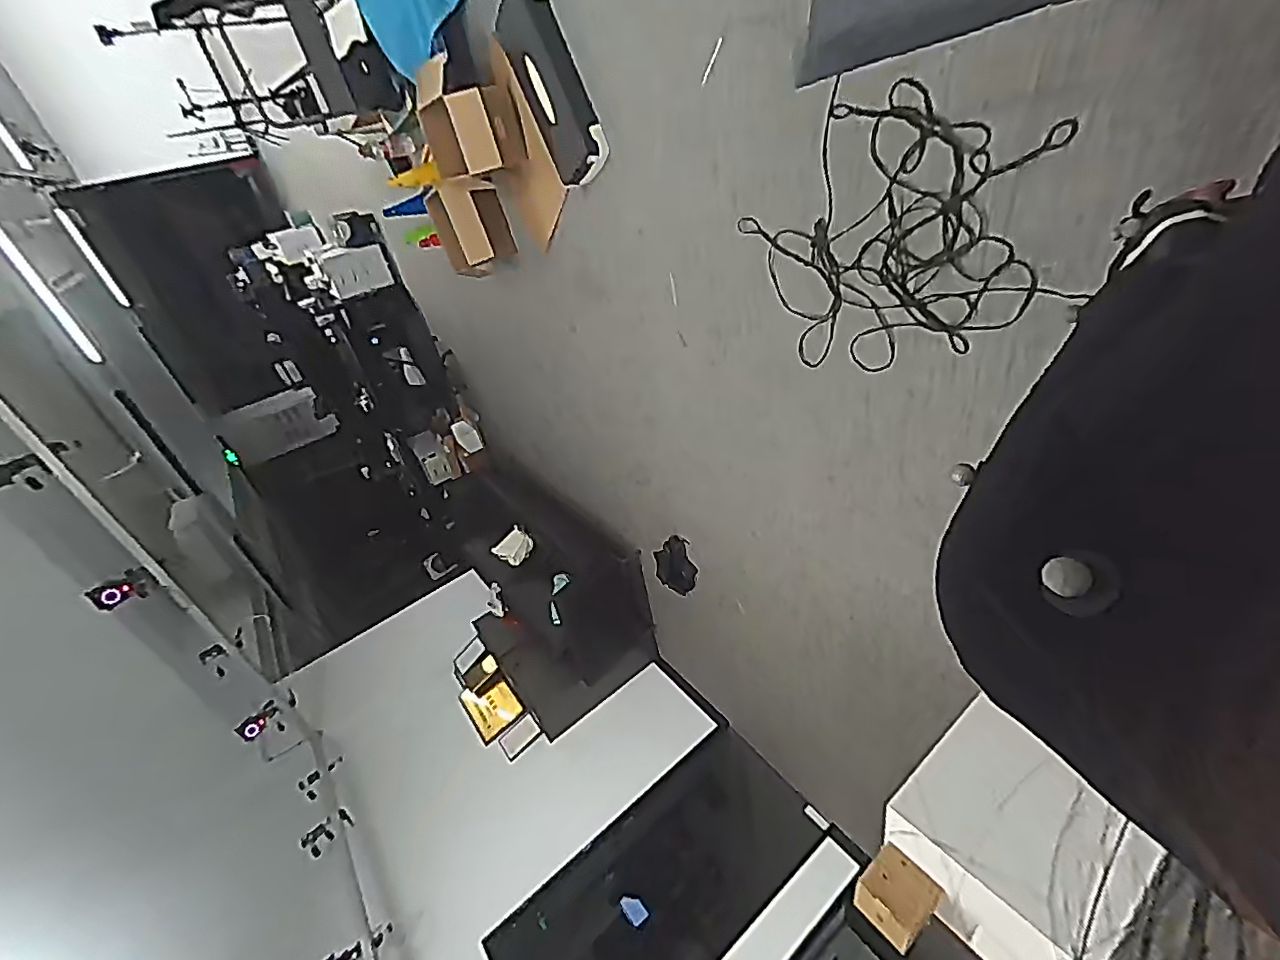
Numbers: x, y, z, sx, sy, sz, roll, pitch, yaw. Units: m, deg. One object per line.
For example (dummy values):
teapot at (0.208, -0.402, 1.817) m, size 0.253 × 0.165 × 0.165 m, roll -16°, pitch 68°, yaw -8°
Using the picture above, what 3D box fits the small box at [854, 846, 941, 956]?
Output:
small box at (0.759, 1.232, 1.592) m, size 0.168 × 0.176 × 0.179 m, roll 32°, pitch 144°, yaw 46°
